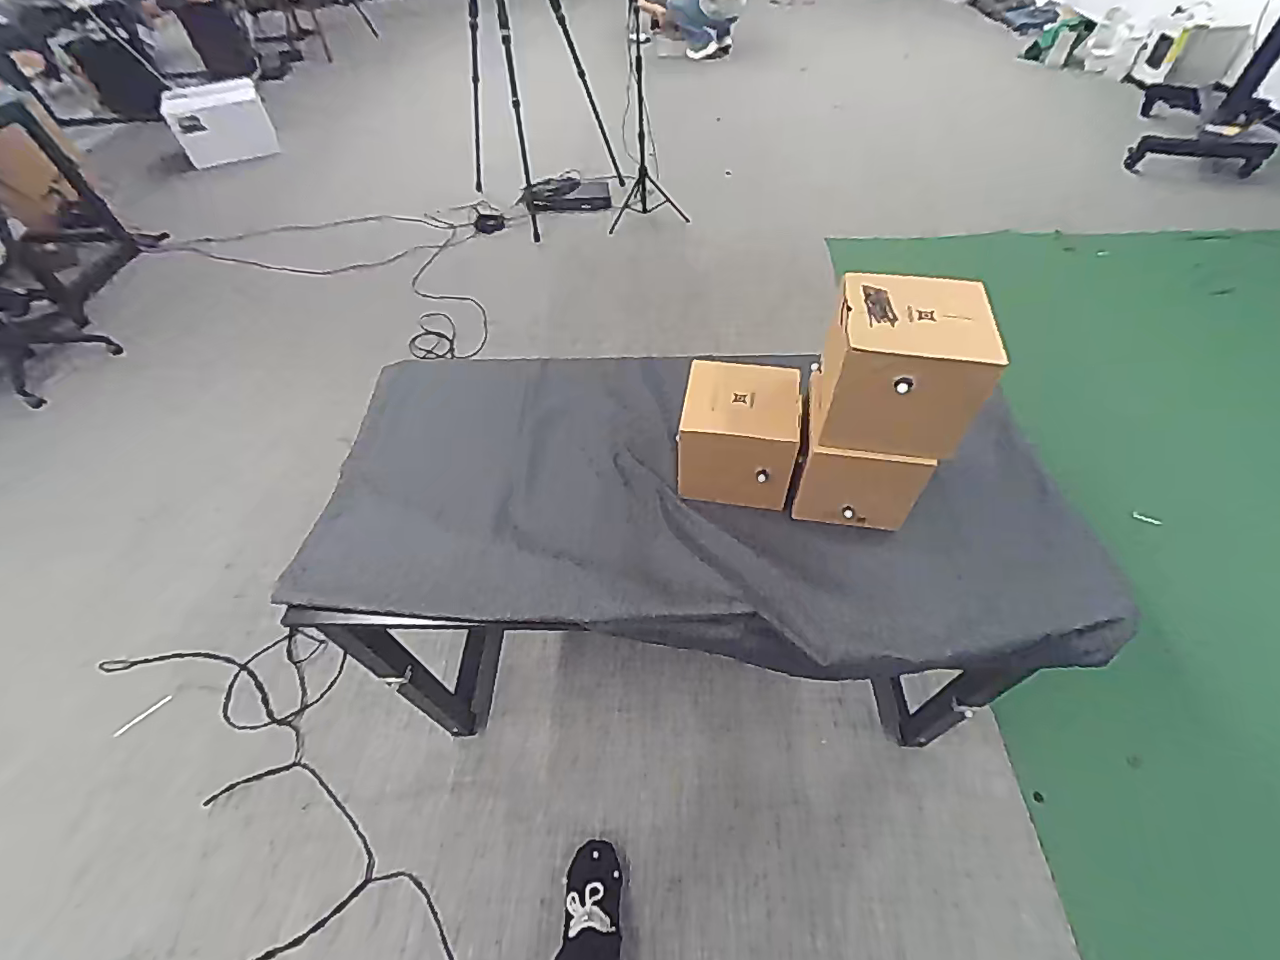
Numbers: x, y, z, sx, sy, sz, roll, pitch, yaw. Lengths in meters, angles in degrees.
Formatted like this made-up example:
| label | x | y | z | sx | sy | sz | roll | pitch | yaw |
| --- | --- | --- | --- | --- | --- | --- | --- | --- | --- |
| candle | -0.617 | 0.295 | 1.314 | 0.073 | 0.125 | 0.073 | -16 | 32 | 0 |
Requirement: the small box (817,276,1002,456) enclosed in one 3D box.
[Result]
| label | x | y | z | sx | sy | sz | roll | pitch | yaw |
| --- | --- | --- | --- | --- | --- | --- | --- | --- | --- |
| small box | 0.342 | -0.150 | 0.728 | 0.179 | 0.176 | 0.168 | 8 | 53 | 9 |
